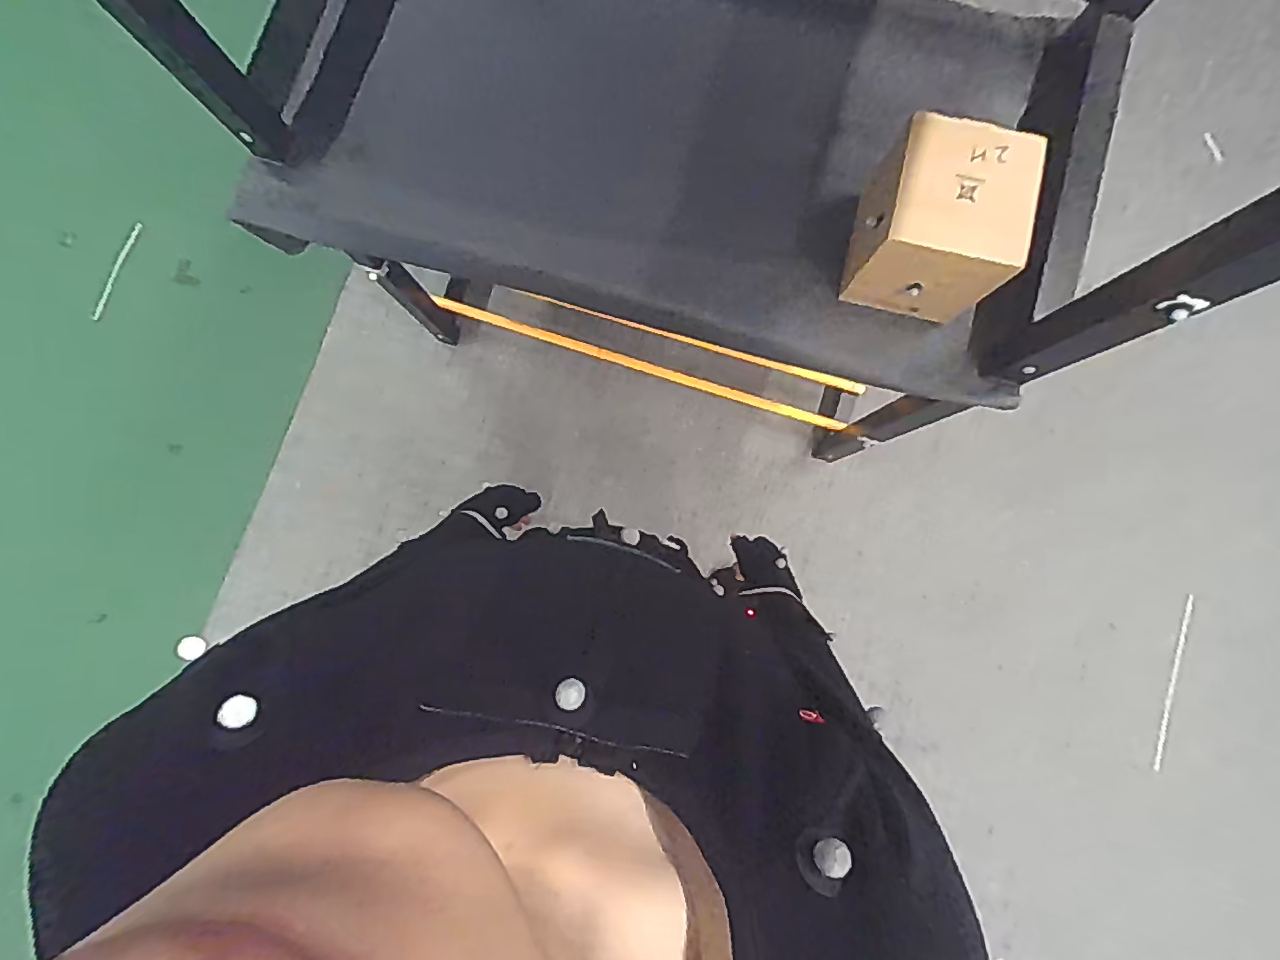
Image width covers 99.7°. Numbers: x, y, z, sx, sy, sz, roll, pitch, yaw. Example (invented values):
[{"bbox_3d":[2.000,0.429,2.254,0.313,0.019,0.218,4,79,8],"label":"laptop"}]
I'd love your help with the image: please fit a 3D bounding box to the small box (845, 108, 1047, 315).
[{"bbox_3d":[0.397,-0.346,0.731,0.168,0.176,0.179,13,84,1],"label":"small box"}]
